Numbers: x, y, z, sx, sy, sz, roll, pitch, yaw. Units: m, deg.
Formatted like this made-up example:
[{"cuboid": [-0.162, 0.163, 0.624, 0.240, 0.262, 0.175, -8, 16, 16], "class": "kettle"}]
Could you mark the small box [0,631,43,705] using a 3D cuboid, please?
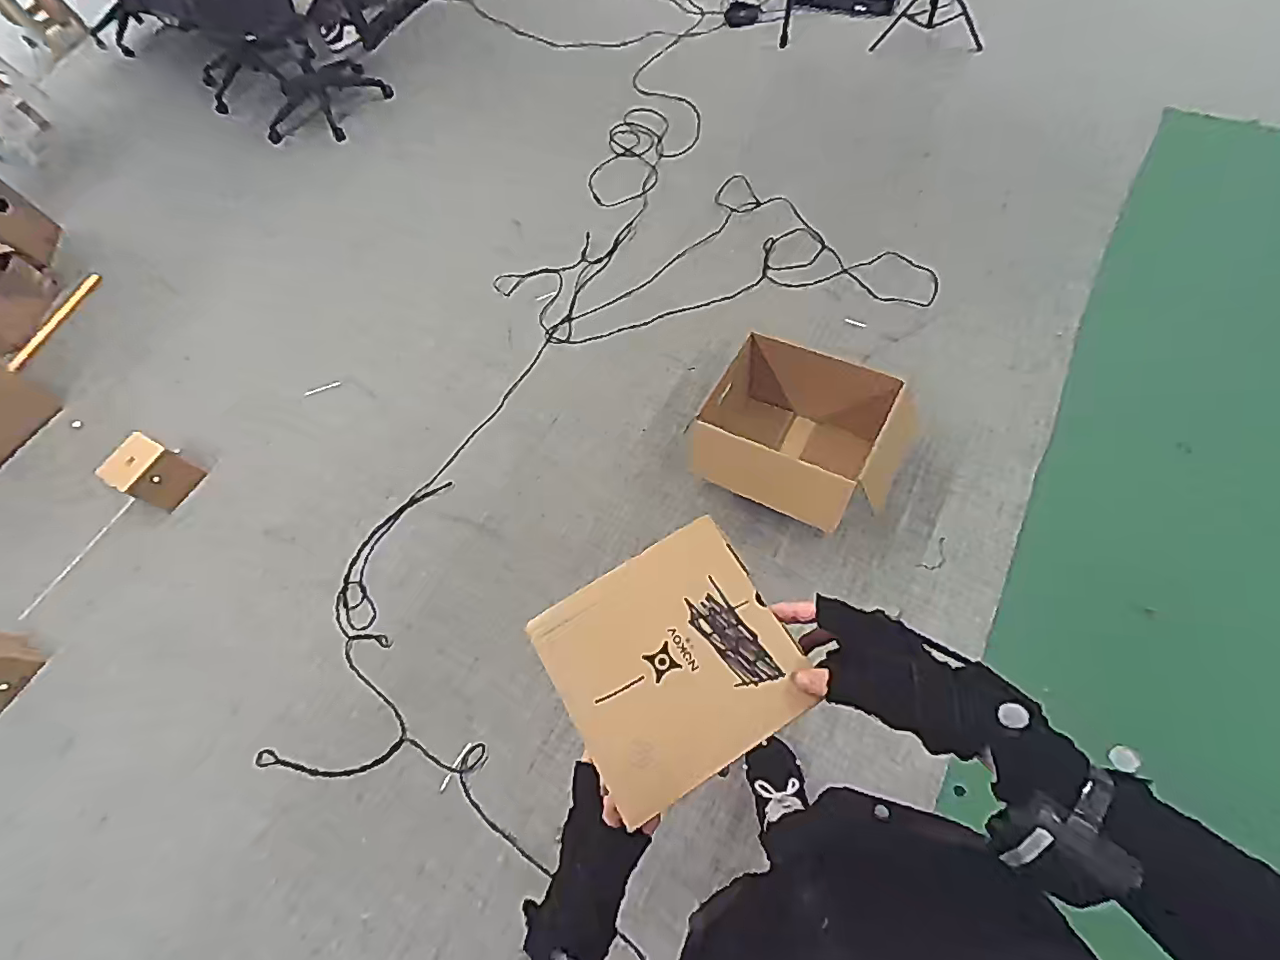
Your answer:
[{"cuboid": [-1.908, 0.534, 1.551, 0.179, 0.176, 0.168, 23, 70, 18], "class": "small box"}]

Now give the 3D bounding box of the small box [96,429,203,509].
[{"cuboid": [-1.600, -0.034, 1.781, 0.168, 0.176, 0.179, 23, 70, 18], "class": "small box"}]

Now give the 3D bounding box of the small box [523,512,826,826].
[{"cuboid": [0.024, 0.157, 0.477, 0.179, 0.176, 0.168, -30, 71, -9], "class": "small box"}]
